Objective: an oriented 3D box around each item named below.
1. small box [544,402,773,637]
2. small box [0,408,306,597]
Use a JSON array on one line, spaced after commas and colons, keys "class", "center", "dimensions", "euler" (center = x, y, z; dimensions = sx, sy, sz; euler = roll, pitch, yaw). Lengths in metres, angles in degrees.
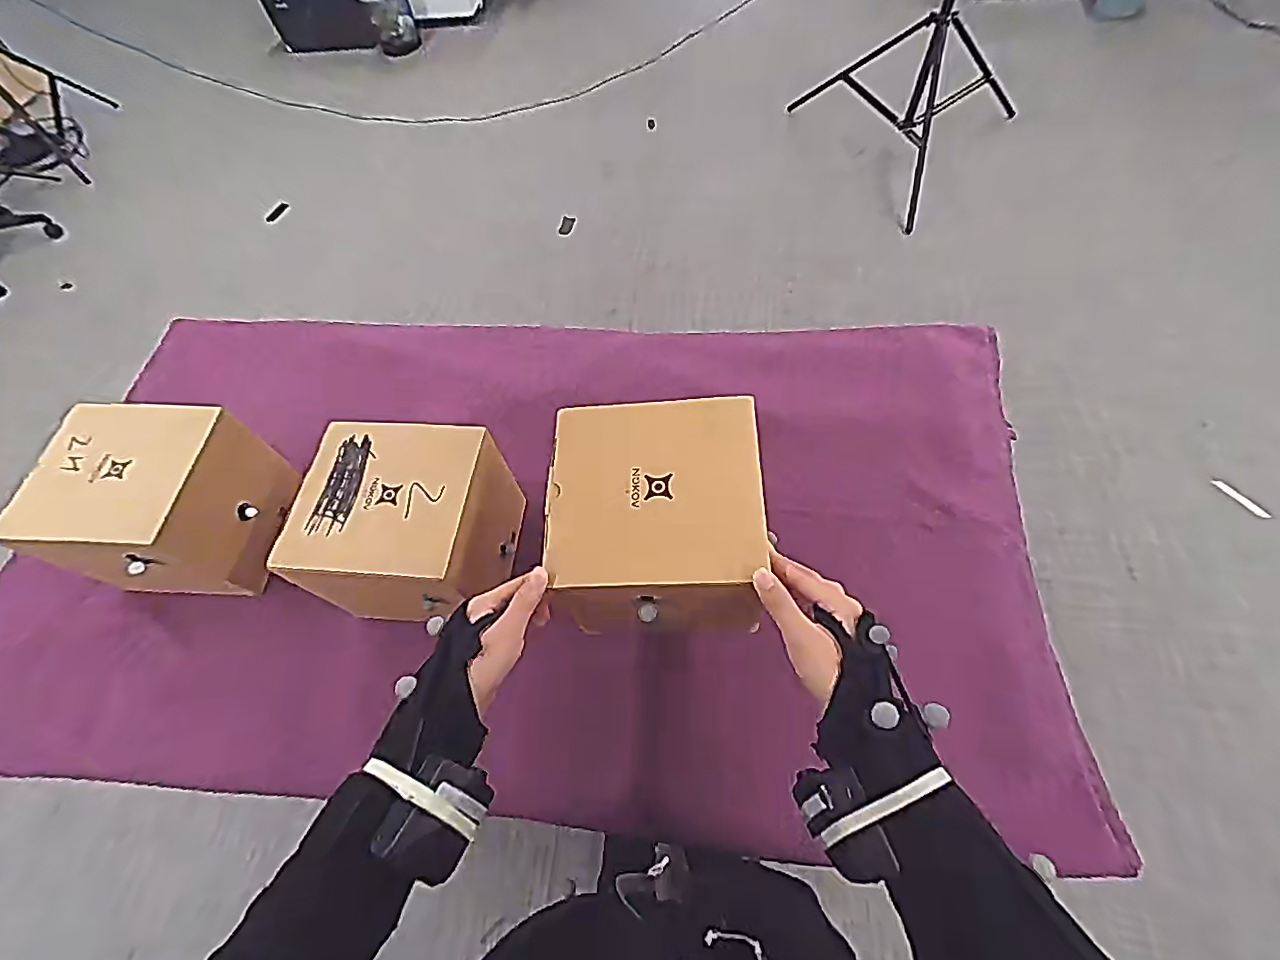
[{"class": "small box", "center": [0.025, 0.046, 0.511], "dimensions": [0.179, 0.176, 0.168], "euler": [-3, 60, 8]}, {"class": "small box", "center": [-0.542, 0.033, 0.638], "dimensions": [0.179, 0.176, 0.168], "euler": [2, 60, 4]}]
